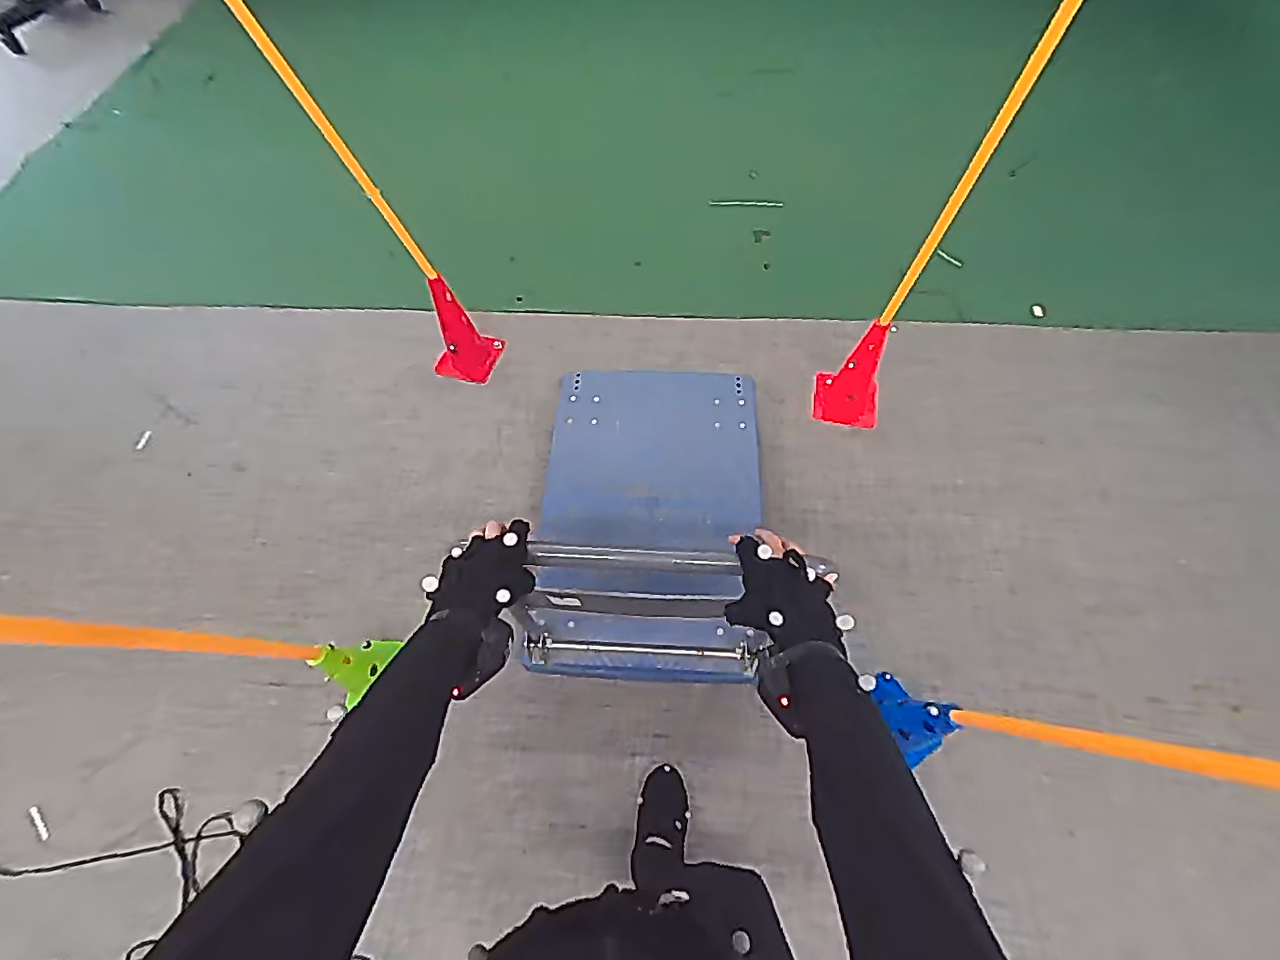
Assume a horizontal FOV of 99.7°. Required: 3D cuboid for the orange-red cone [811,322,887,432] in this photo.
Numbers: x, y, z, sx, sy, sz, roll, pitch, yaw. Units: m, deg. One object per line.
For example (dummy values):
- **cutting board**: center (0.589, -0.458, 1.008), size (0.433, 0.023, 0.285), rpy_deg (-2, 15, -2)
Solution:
- **orange-red cone**: center (0.665, -0.333, 1.626), size (0.198, 0.360, 0.199), rpy_deg (12, 63, 9)
